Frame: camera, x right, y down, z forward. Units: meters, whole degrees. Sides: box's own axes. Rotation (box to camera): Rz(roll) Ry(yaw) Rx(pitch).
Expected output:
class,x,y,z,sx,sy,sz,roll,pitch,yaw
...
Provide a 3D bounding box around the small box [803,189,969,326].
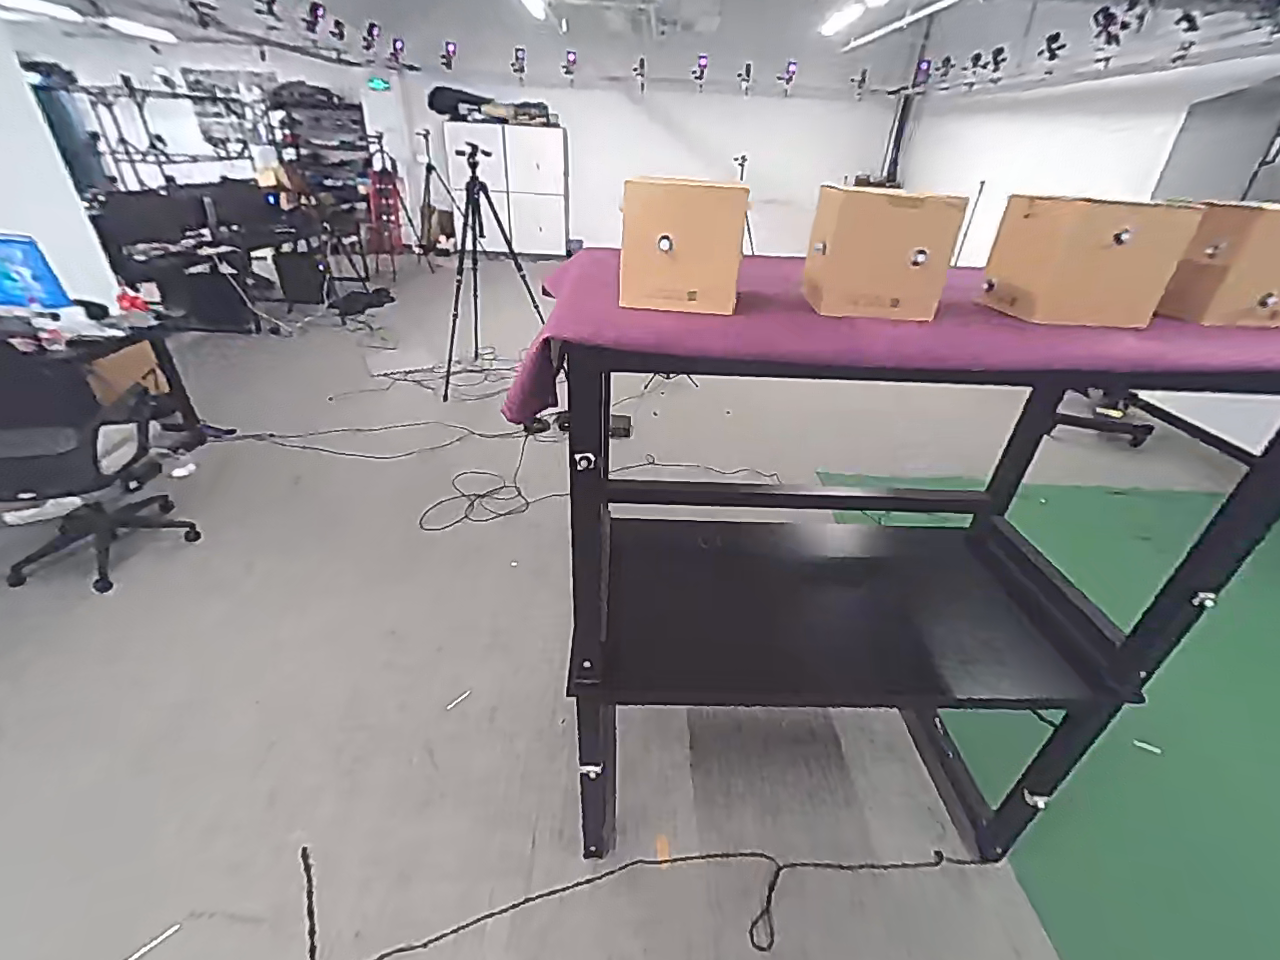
class,x,y,z,sx,sy,sz,roll,pitch,yaw
small box,0.357,-0.341,0.823,0.168,0.176,0.179,5,31,3

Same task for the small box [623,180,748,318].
class,x,y,z,sx,sy,sz,roll,pitch,yaw
small box,0.067,-0.348,0.811,0.168,0.176,0.179,5,31,4

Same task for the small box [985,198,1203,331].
class,x,y,z,sx,sy,sz,roll,pitch,yaw
small box,0.670,-0.332,0.831,0.179,0.176,0.168,2,31,-2
